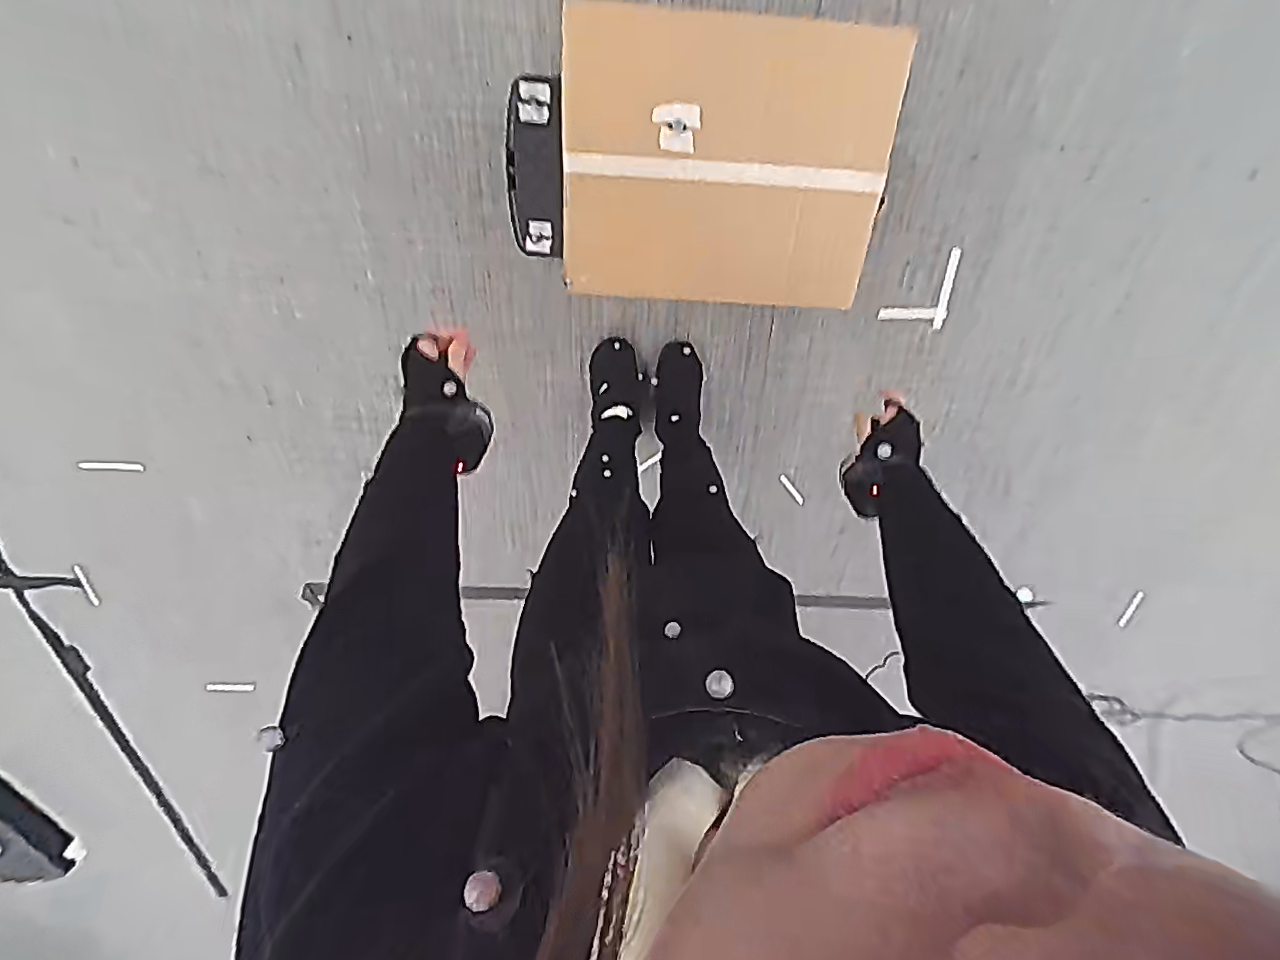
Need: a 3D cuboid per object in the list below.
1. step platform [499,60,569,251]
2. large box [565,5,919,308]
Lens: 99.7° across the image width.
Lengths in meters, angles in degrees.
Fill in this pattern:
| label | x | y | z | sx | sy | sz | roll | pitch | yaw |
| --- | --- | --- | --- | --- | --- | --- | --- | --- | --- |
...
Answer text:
| label | x | y | z | sx | sy | sz | roll | pitch | yaw |
| --- | --- | --- | --- | --- | --- | --- | --- | --- | --- |
| step platform | 0.086 | -0.551 | 1.016 | 0.684 | 0.204 | 0.286 | 7 | 118 | -5 |
| large box | 0.110 | -0.451 | 0.799 | 0.408 | 0.320 | 0.320 | 3 | 118 | -2 |
